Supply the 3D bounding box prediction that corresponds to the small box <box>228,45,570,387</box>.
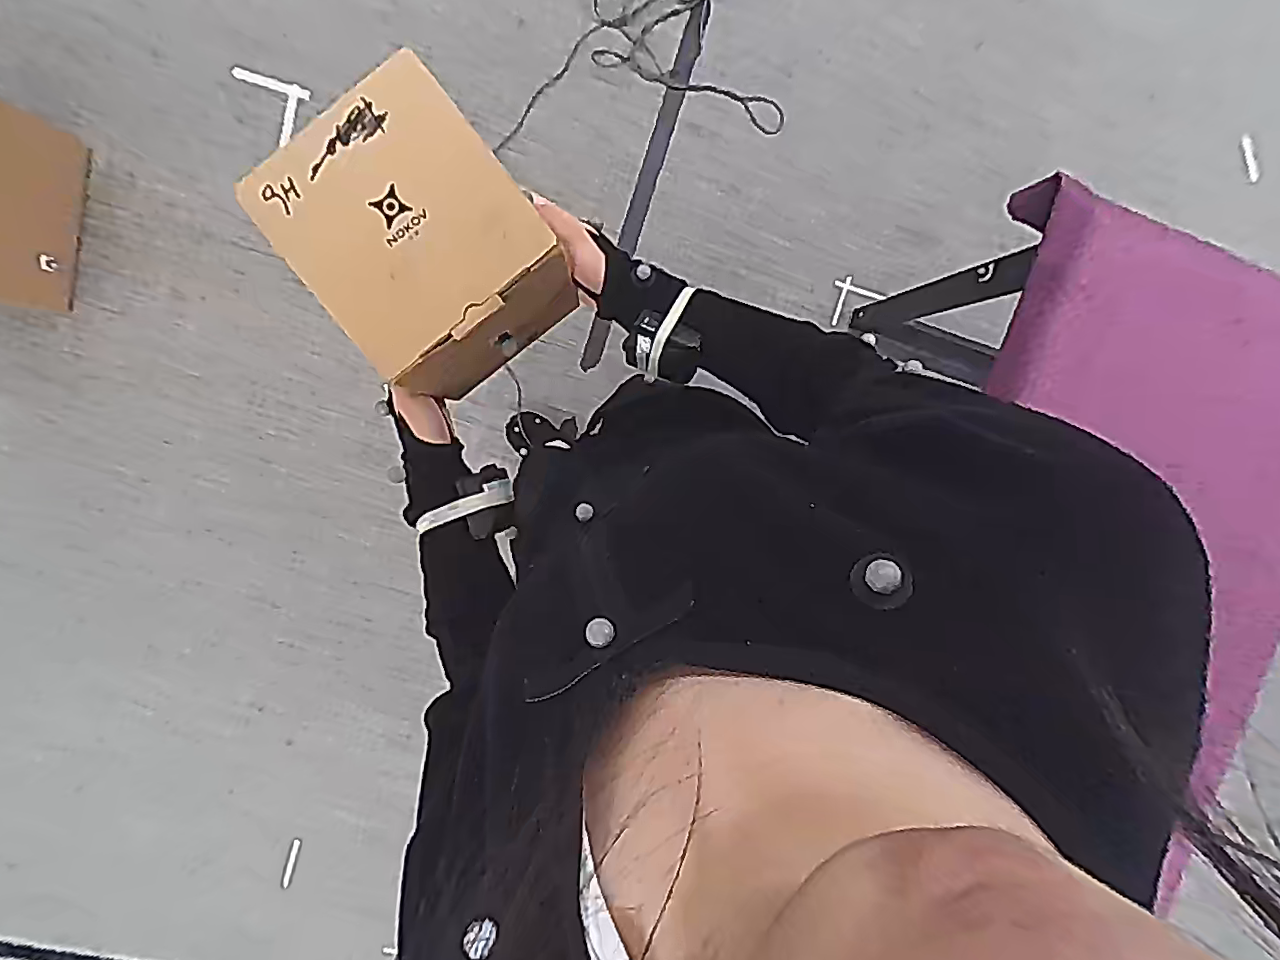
[{"bbox_3d":[-0.176,-0.194,0.463,0.168,0.176,0.179,-38,95,1],"label":"small box"}]
